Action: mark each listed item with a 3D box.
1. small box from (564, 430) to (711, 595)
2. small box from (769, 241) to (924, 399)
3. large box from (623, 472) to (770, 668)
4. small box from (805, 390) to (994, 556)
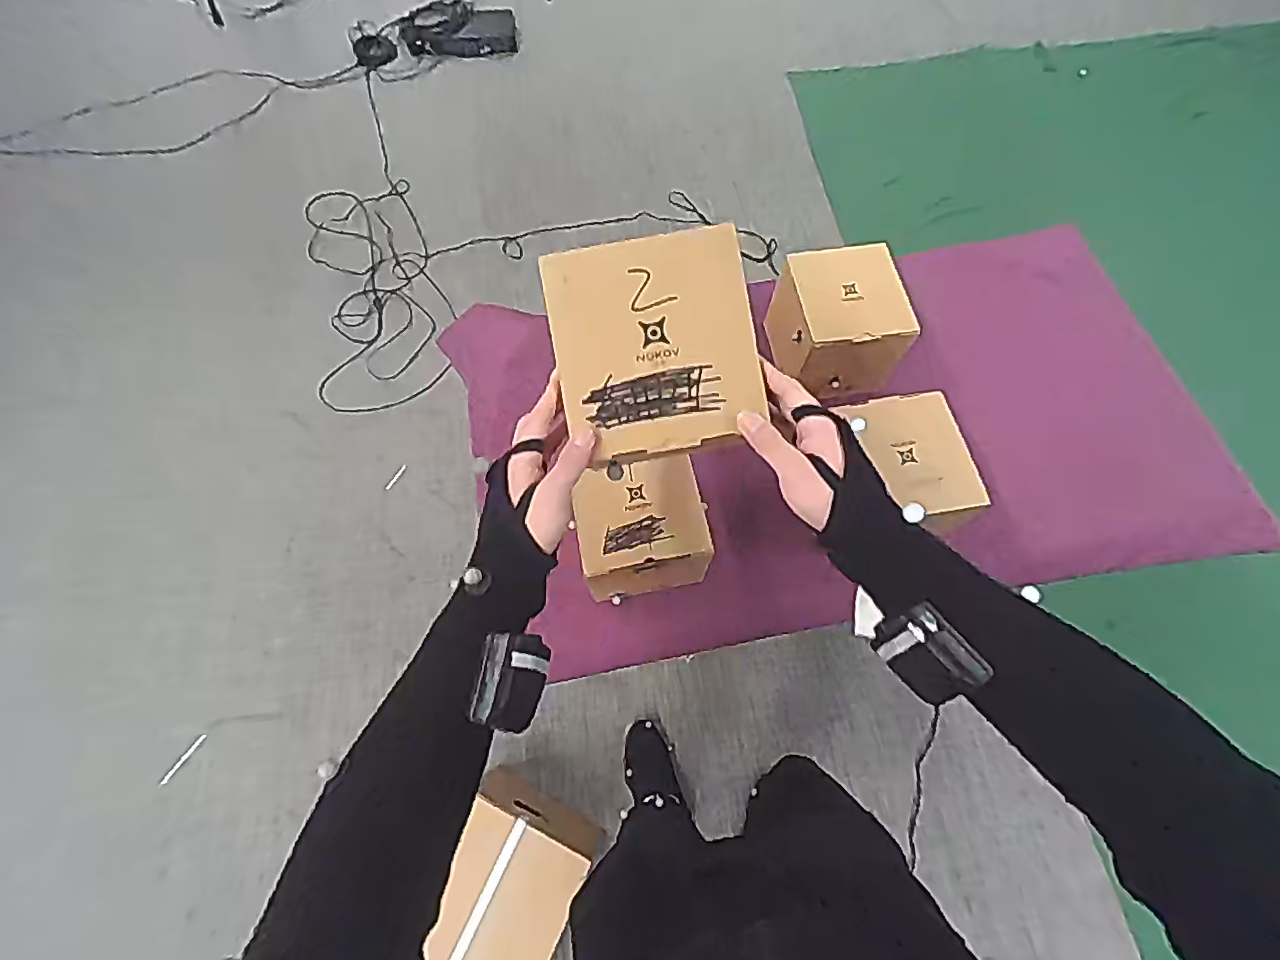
[{"bbox_3d":[-0.004,0.056,0.760,0.168,0.176,0.179,-10,66,-4],"label":"small box"},{"bbox_3d":[0.321,-0.256,0.885,0.168,0.176,0.179,-8,69,-3],"label":"small box"},{"bbox_3d":[0.109,0.242,1.399,0.320,0.320,0.408,-9,67,-3],"label":"large box"},{"bbox_3d":[0.353,-0.004,0.780,0.168,0.176,0.179,-8,67,-1],"label":"small box"}]
